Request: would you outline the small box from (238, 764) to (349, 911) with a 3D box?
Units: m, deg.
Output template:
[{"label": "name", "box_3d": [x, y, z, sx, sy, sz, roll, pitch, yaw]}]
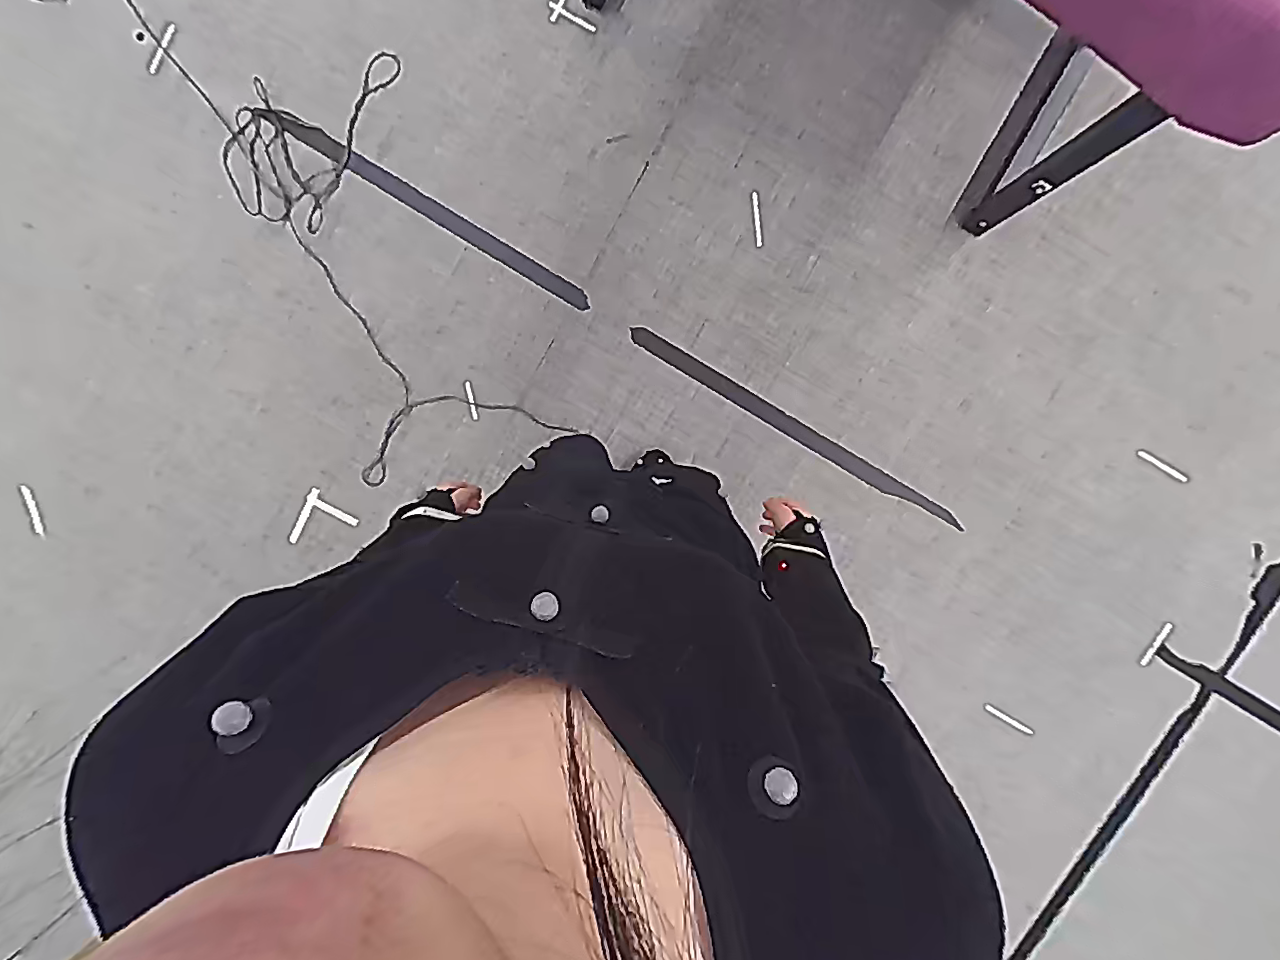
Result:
[{"label": "small box", "box_3d": [-0.786, 0.779, 1.195, 0.168, 0.176, 0.179, 27, 94, -1]}]
